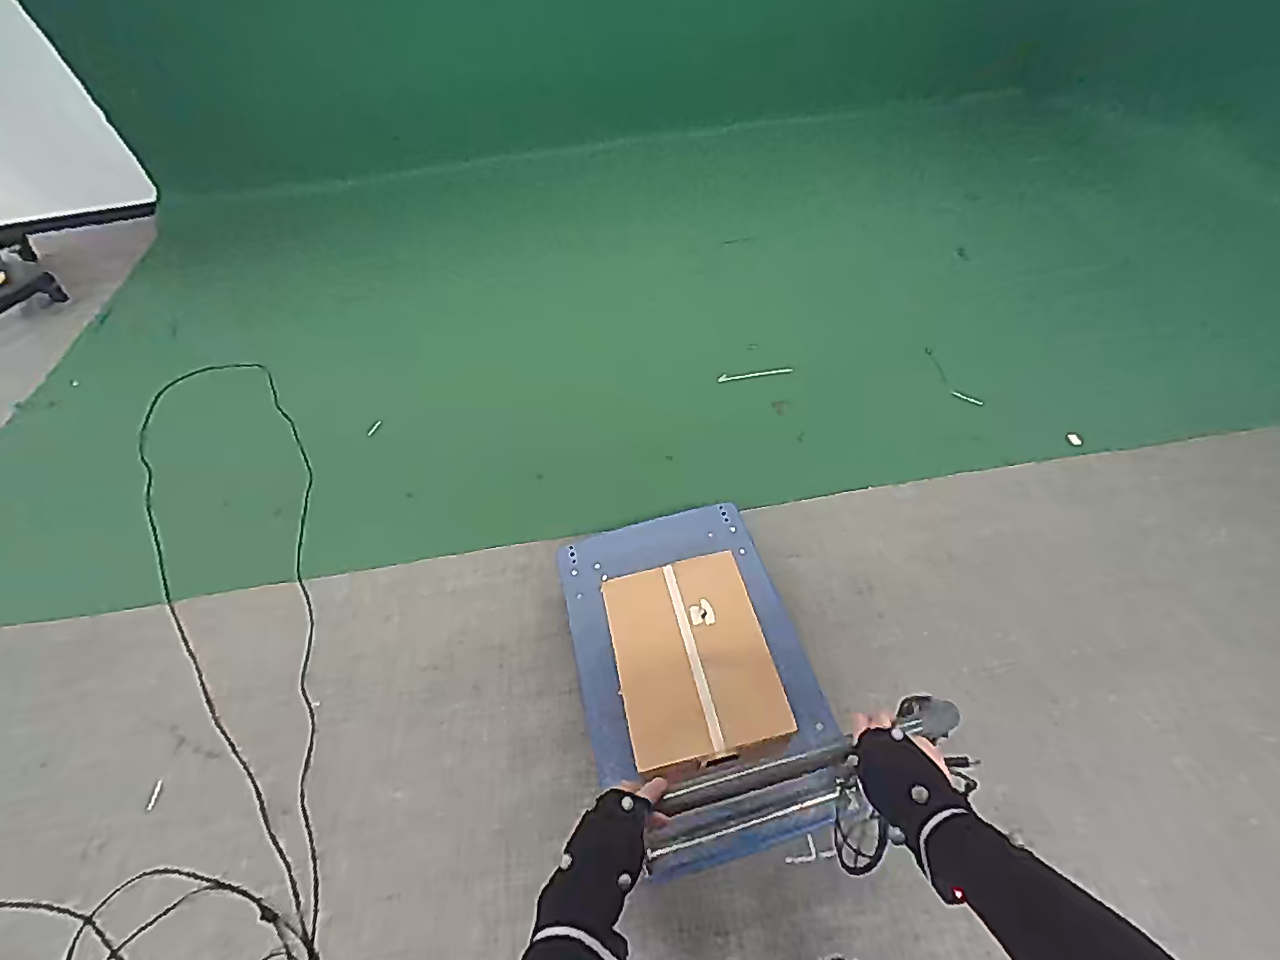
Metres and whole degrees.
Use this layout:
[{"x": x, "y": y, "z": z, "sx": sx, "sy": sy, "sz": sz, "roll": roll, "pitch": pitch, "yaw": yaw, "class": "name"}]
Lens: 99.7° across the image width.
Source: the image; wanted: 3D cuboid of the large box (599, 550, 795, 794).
[{"x": 0.114, "y": 0.435, "z": 1.231, "sx": 0.320, "sy": 0.320, "sz": 0.408, "roll": -13, "pitch": 52, "yaw": -4, "class": "large box"}]
